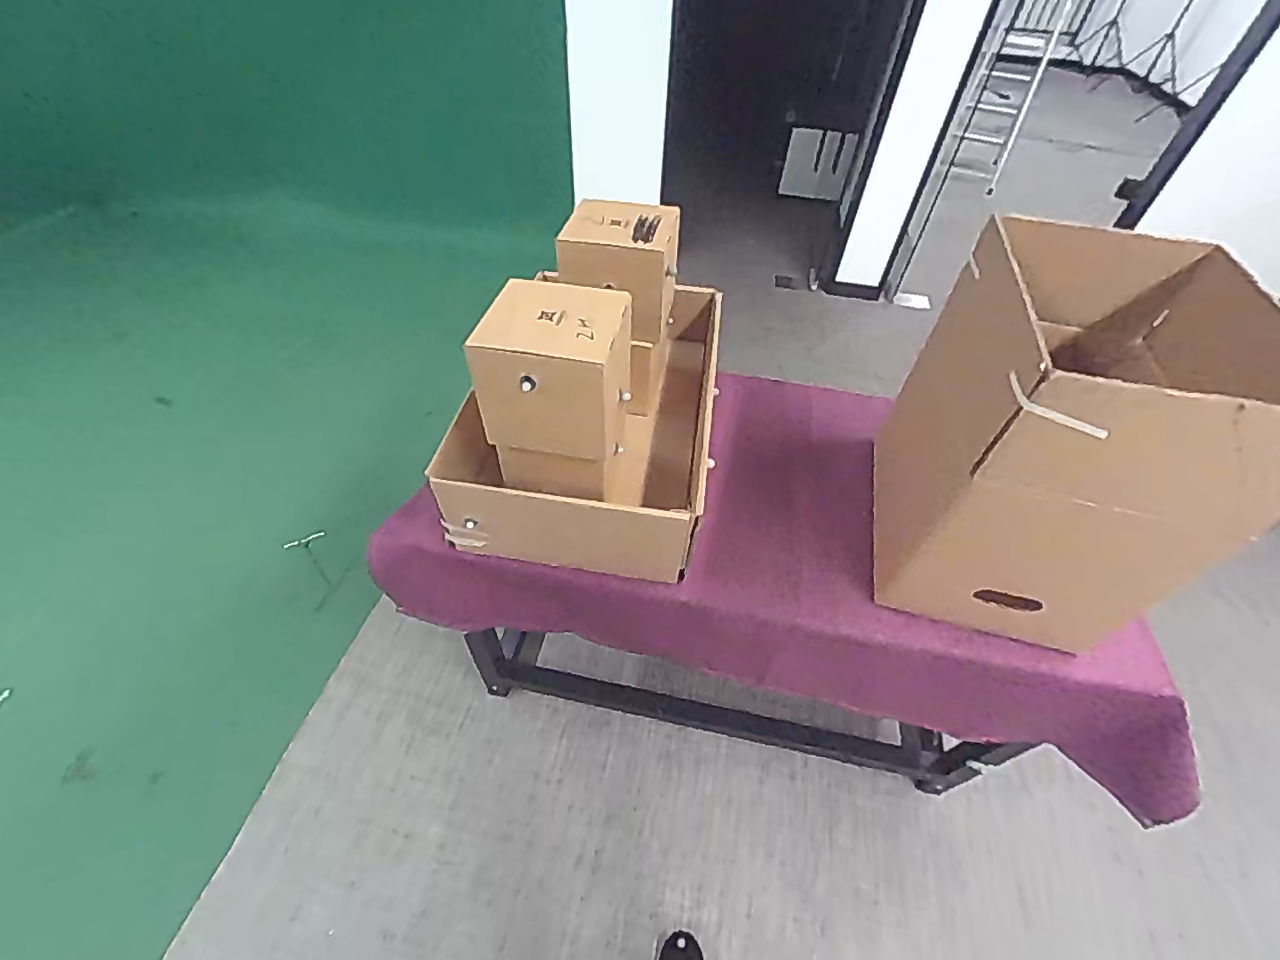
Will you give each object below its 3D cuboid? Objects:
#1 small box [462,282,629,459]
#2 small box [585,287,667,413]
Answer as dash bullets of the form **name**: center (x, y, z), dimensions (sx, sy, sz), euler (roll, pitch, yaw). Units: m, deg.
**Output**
- **small box**: center (-0.116, -0.149, 0.750), dimensions (0.179, 0.176, 0.168), euler (10, 50, 6)
- **small box**: center (-0.044, -0.253, 1.065), dimensions (0.168, 0.176, 0.179), euler (9, 49, 7)
